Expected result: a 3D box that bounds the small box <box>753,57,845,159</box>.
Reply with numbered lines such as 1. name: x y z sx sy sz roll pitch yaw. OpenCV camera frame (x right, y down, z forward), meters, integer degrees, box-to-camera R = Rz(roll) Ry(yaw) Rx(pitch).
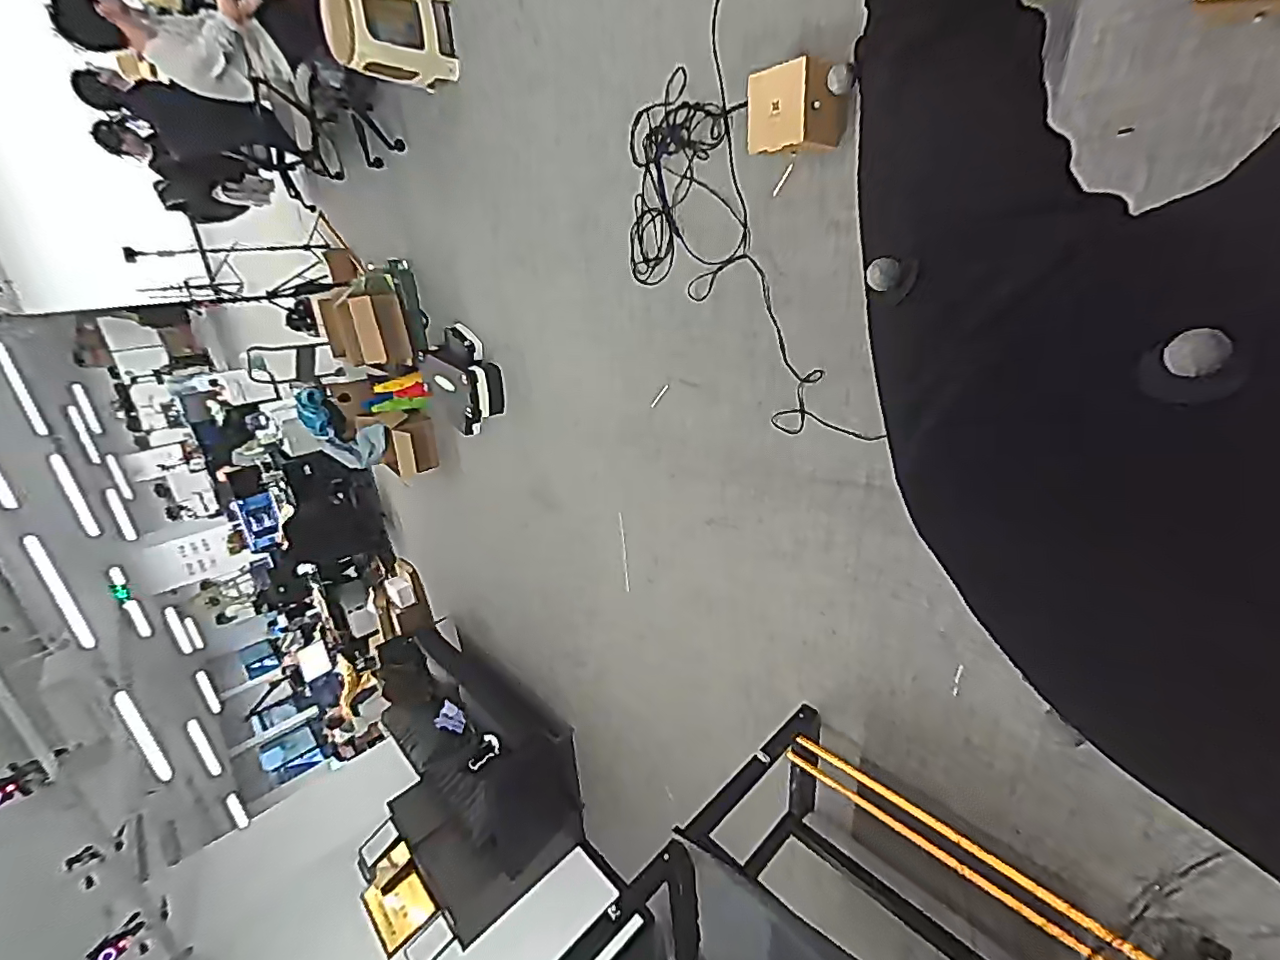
1. small box: 0.406 -0.937 1.379 0.168 0.176 0.179 19 122 45
